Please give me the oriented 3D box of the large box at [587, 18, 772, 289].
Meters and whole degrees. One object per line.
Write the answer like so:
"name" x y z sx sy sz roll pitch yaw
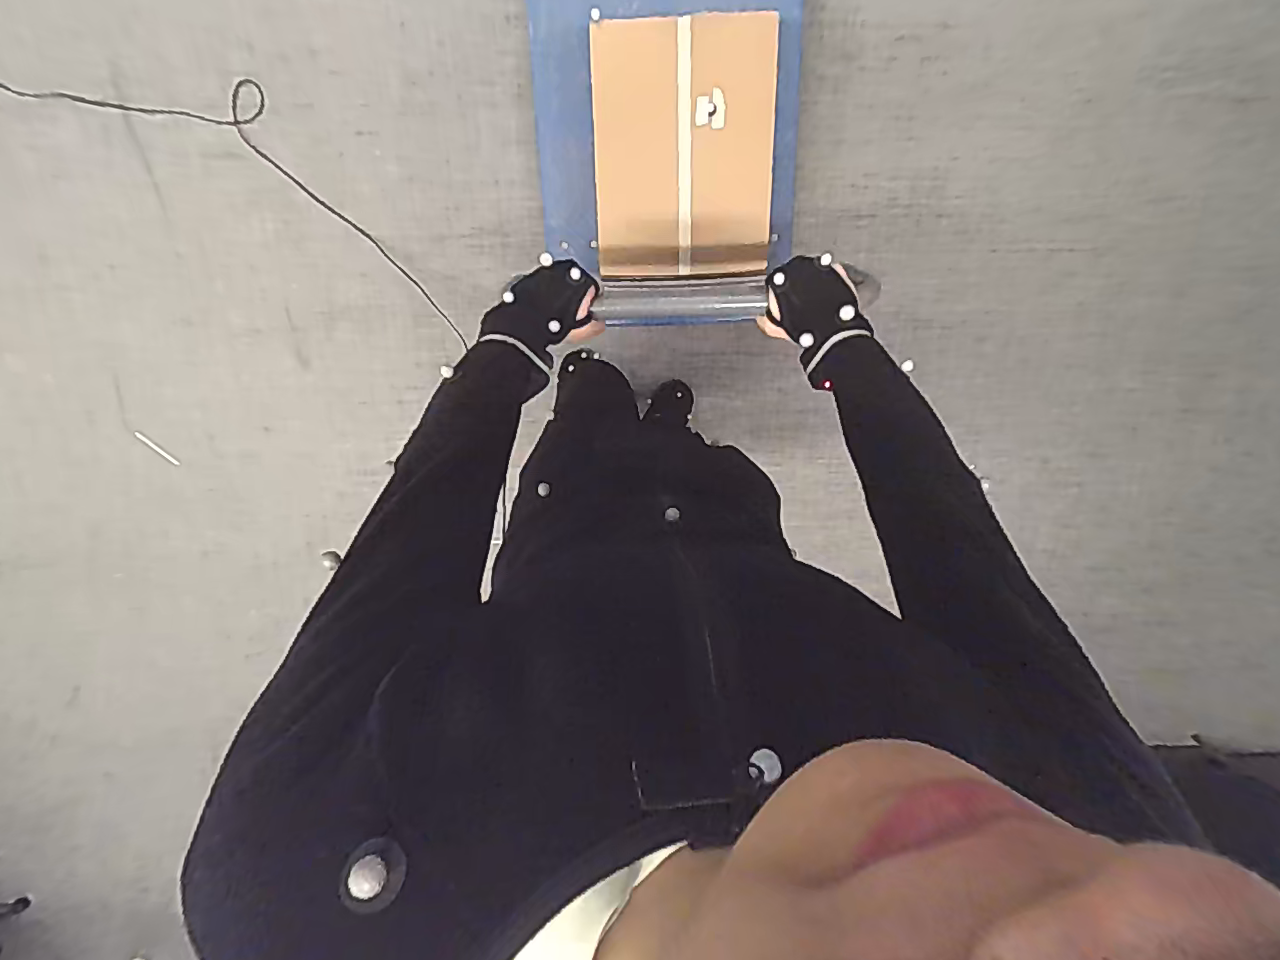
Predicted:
"large box" 0.078 -0.609 1.093 0.320 0.320 0.408 -1 107 1
